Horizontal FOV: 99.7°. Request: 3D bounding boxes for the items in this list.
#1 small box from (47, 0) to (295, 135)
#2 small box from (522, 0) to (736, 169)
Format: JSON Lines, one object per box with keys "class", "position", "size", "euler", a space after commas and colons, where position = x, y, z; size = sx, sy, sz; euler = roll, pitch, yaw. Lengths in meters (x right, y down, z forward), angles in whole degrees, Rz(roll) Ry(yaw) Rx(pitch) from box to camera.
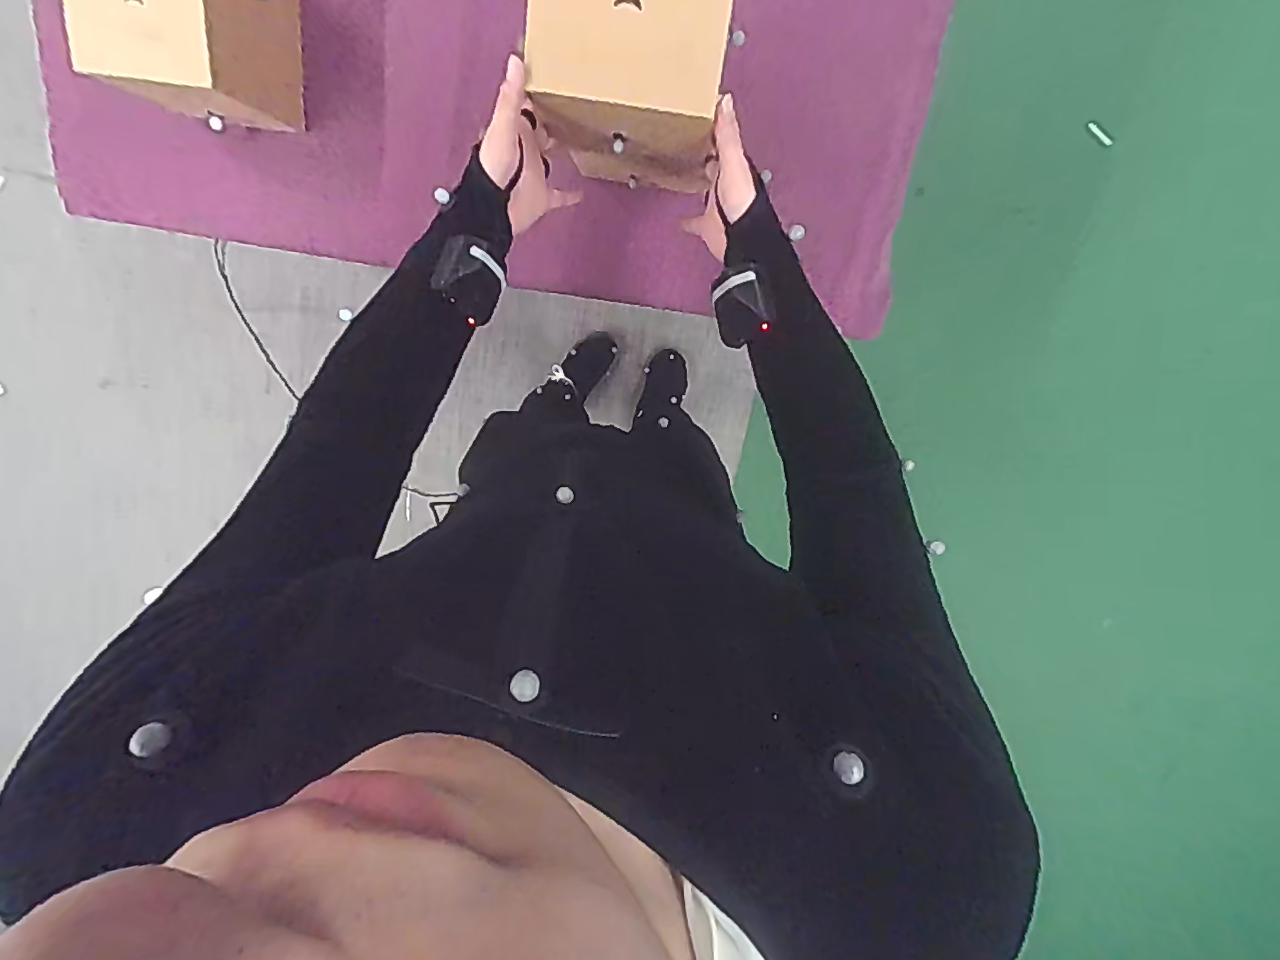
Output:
{"class": "small box", "position": [-0.550, -0.552, 0.653], "size": [0.168, 0.176, 0.179], "euler": [9, 107, 0]}
{"class": "small box", "position": [-0.001, -0.410, 0.499], "size": [0.168, 0.176, 0.179], "euler": [9, 107, -1]}
